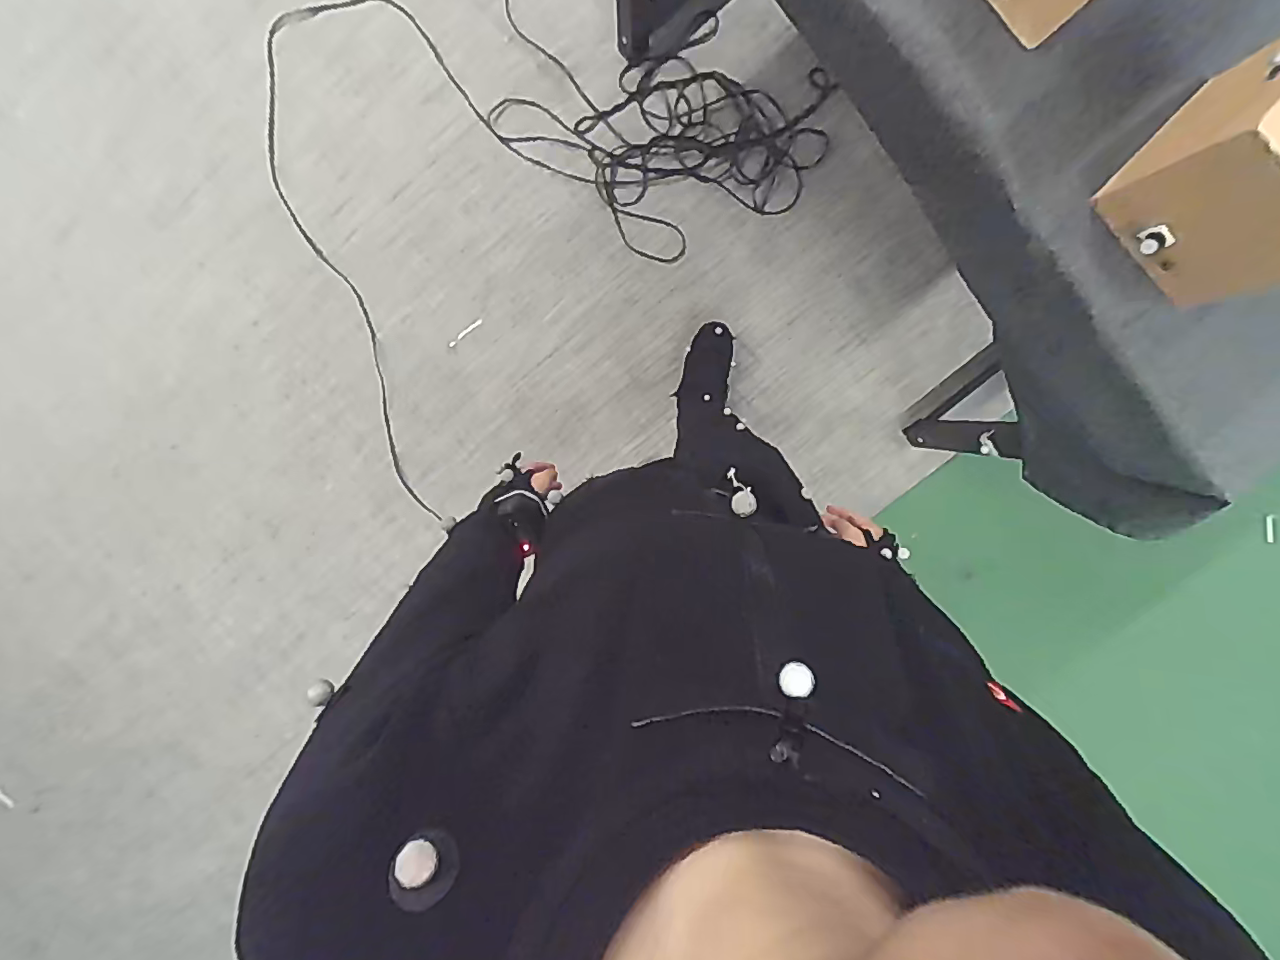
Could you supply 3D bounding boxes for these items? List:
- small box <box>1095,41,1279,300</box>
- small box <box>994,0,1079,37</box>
[{"bbox_3d":[0.606,-0.302,0.513,0.168,0.176,0.179,43,95,-5],"label":"small box"},{"bbox_3d":[0.410,-0.560,0.474,0.168,0.176,0.179,44,94,-6],"label":"small box"}]
